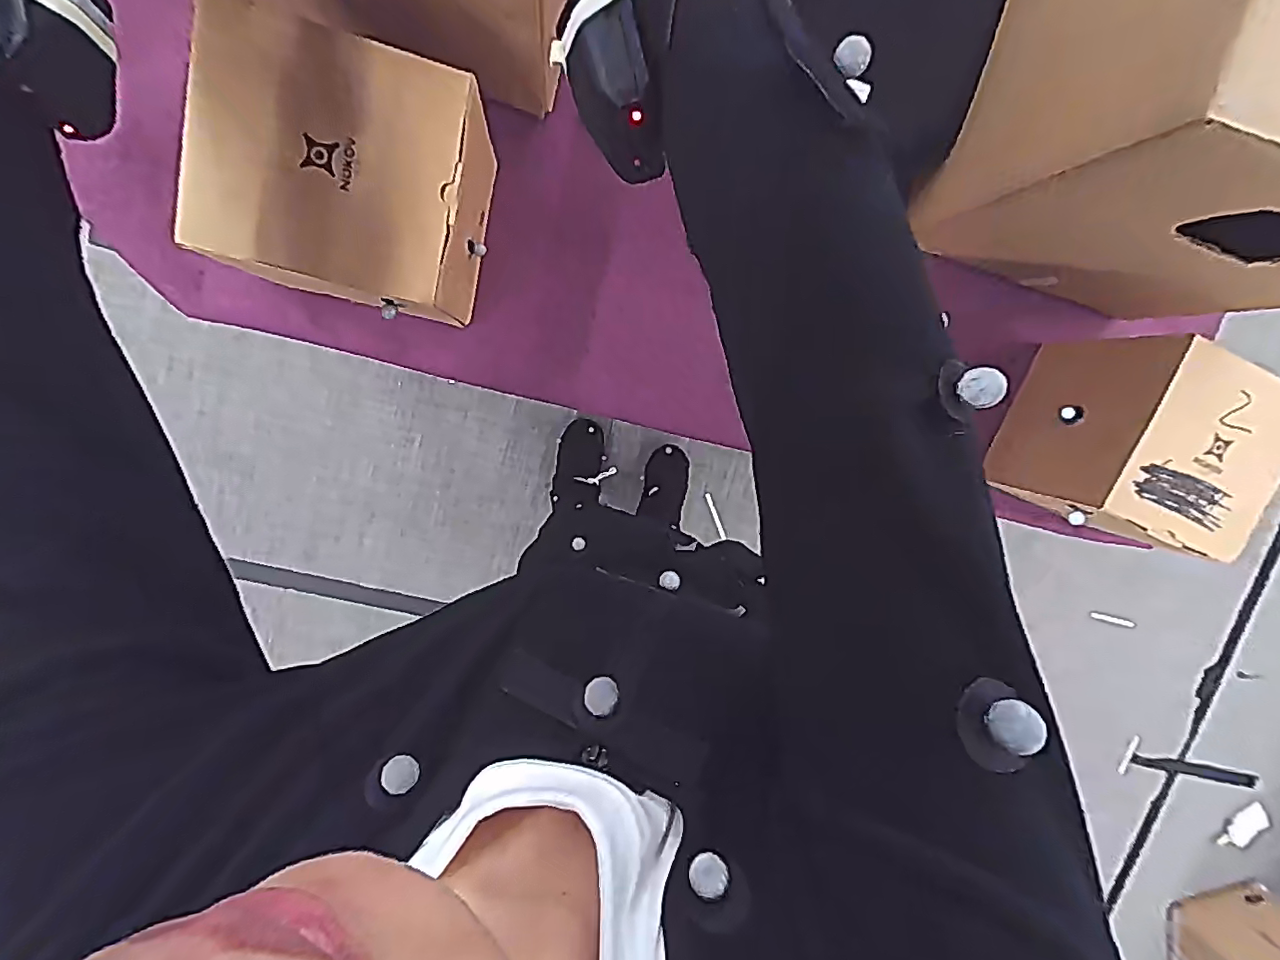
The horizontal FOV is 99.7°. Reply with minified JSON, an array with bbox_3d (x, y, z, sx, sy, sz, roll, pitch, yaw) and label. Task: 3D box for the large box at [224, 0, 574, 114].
[{"bbox_3d":[-0.164,-0.552,0.340,0.320,0.320,0.408,13,102,-11],"label":"large box"}]
